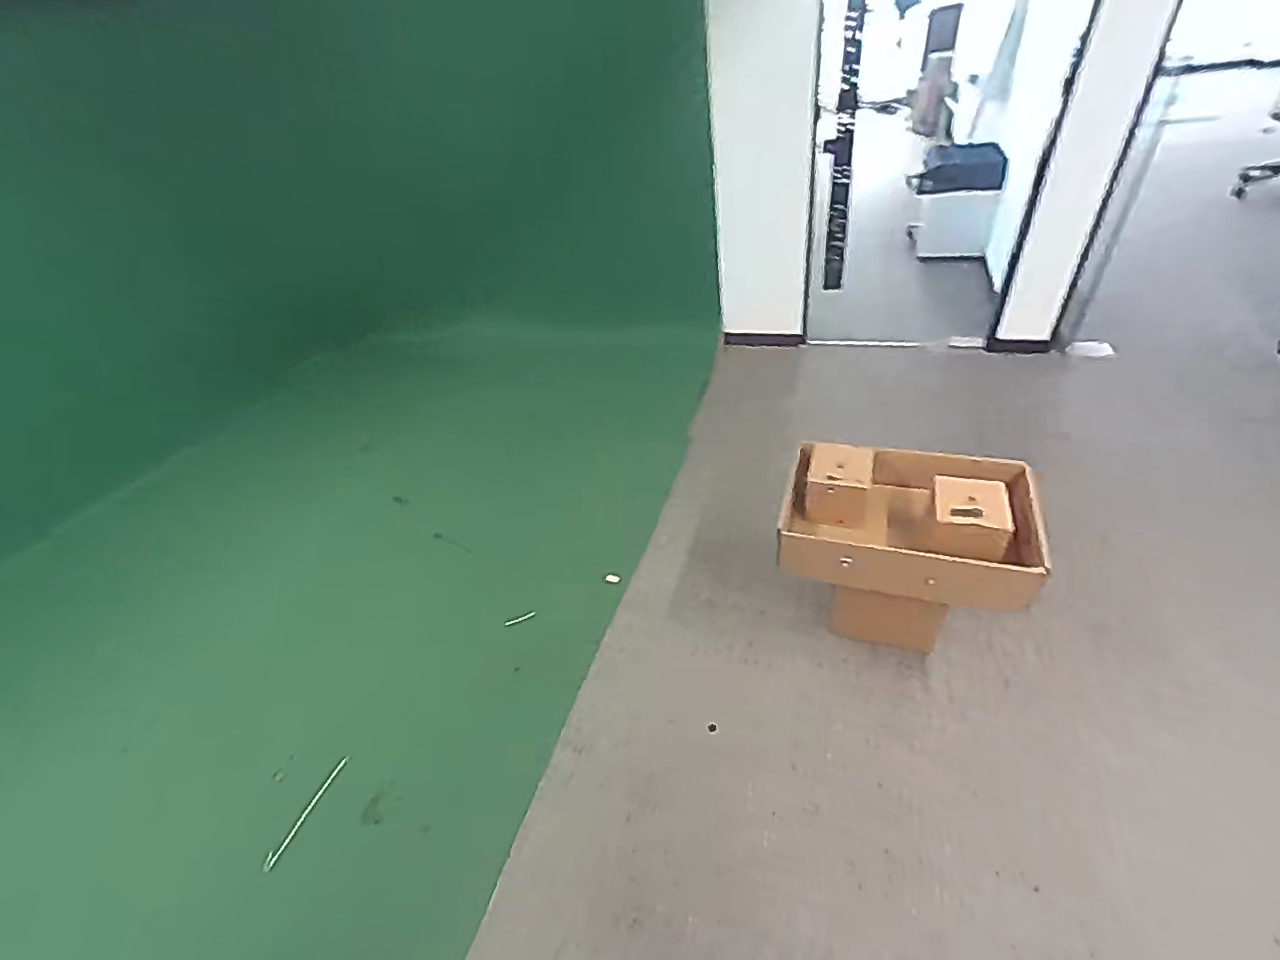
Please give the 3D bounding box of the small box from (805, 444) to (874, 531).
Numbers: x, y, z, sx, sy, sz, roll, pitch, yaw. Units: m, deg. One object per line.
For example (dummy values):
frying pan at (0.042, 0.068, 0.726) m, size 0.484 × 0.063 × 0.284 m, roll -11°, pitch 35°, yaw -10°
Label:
small box at (0.587, 0.021, 1.598) m, size 0.168 × 0.176 × 0.179 m, roll 9°, pitch 45°, yaw 21°
